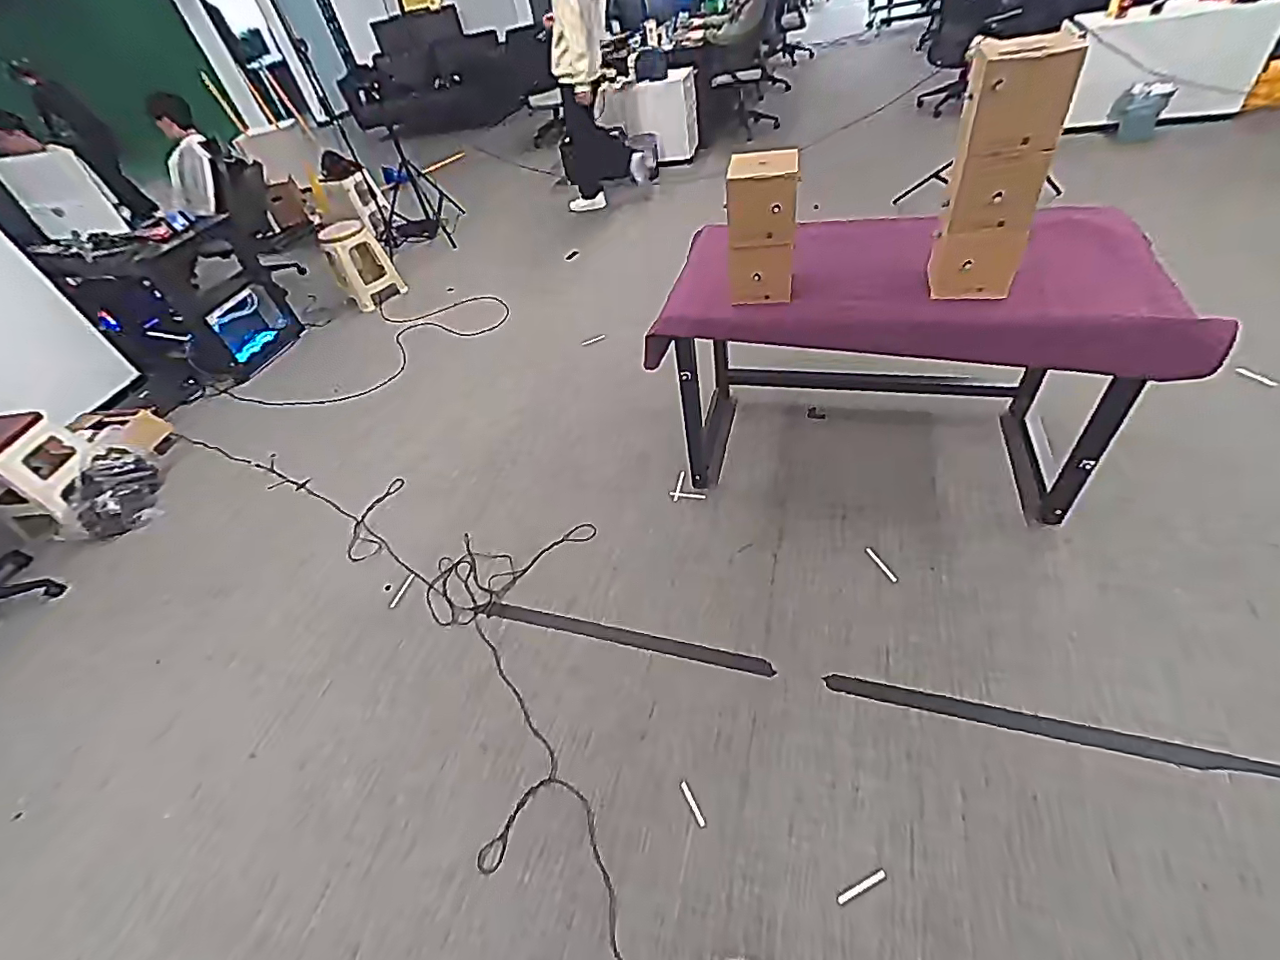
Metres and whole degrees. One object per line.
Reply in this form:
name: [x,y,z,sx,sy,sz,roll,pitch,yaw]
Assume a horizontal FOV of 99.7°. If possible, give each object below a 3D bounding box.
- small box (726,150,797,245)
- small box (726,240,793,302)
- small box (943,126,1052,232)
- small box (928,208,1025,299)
small box: [0.309,-0.710,1.371,0.168,0.176,0.179,2,46,13]
small box: [0.333,-0.604,1.492,0.168,0.176,0.179,4,47,14]
small box: [0.809,-0.684,1.241,0.168,0.176,0.179,7,48,18]
small box: [0.833,-0.568,1.355,0.168,0.176,0.179,6,48,18]
